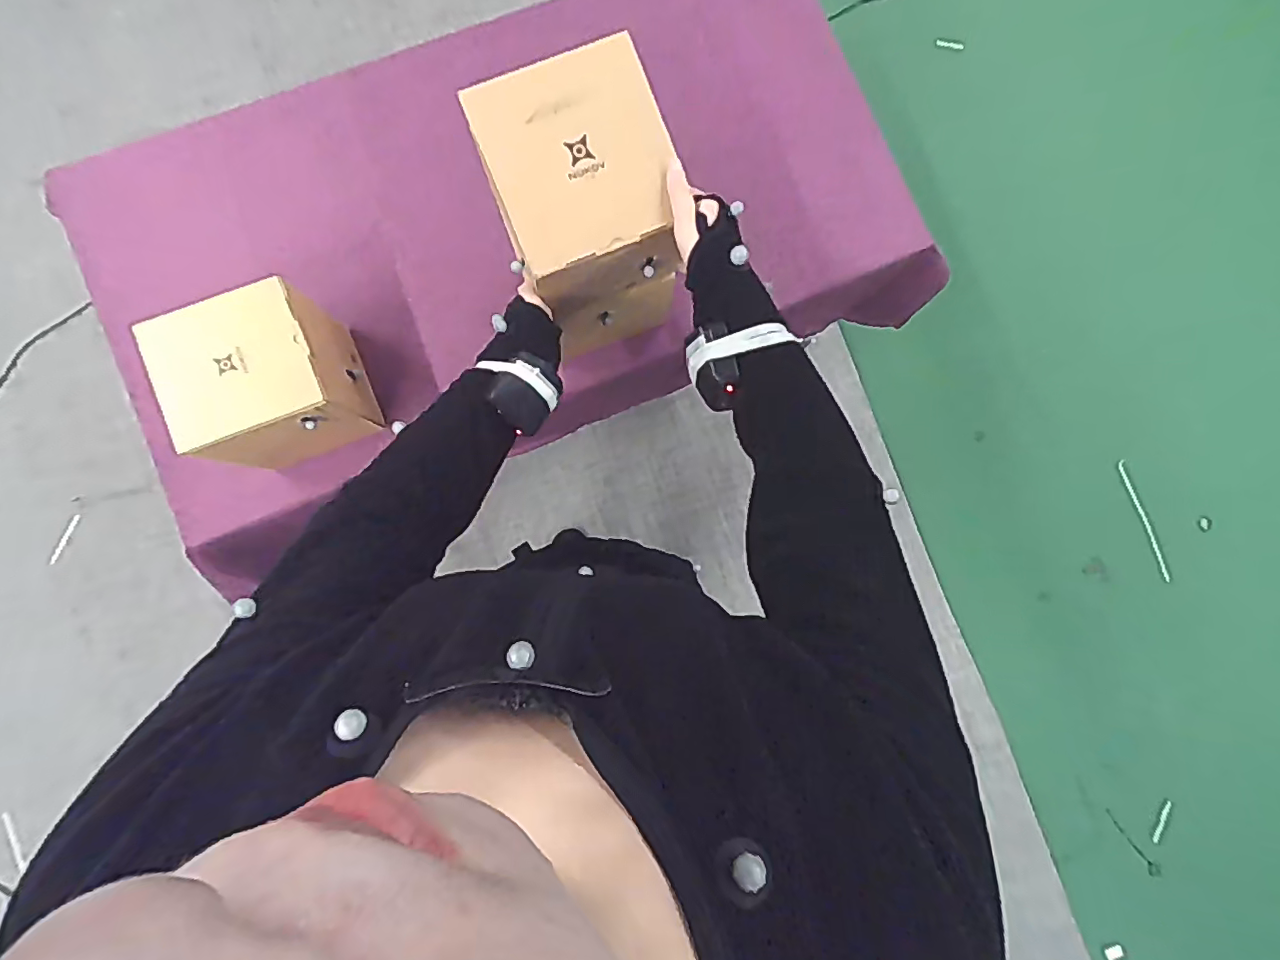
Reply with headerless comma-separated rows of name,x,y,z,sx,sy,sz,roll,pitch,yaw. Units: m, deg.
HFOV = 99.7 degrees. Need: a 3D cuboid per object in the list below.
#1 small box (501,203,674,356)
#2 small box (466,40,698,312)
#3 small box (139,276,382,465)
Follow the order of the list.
small box,-0.068,-0.289,0.744,0.179,0.176,0.168,-21,88,-5
small box,-0.057,-0.293,0.570,0.168,0.176,0.179,-22,95,-4
small box,-0.477,-0.129,0.708,0.179,0.176,0.168,-22,86,-6
